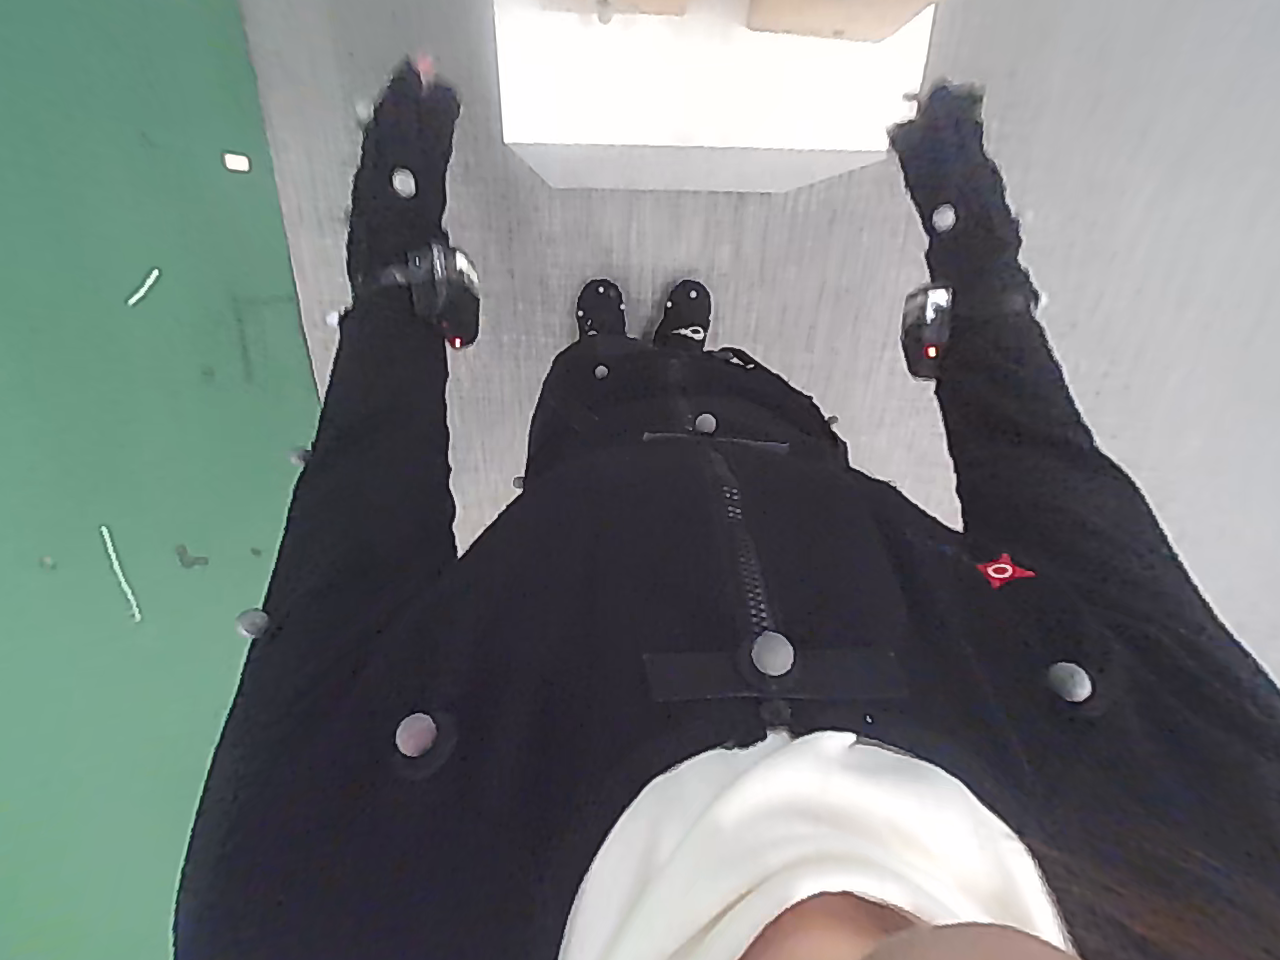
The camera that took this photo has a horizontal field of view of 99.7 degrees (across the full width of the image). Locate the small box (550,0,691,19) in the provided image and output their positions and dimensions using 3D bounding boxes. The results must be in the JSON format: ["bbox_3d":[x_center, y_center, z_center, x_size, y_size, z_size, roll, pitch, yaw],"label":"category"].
[{"bbox_3d":[-0.023,-0.581,0.514,0.168,0.176,0.179,-1,115,-1],"label":"small box"}]

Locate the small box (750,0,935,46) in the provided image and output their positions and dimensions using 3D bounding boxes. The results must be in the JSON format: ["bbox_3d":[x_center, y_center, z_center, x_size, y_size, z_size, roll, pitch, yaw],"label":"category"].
[{"bbox_3d":[0.213,-0.567,0.526,0.168,0.176,0.179,4,113,-4],"label":"small box"}]
